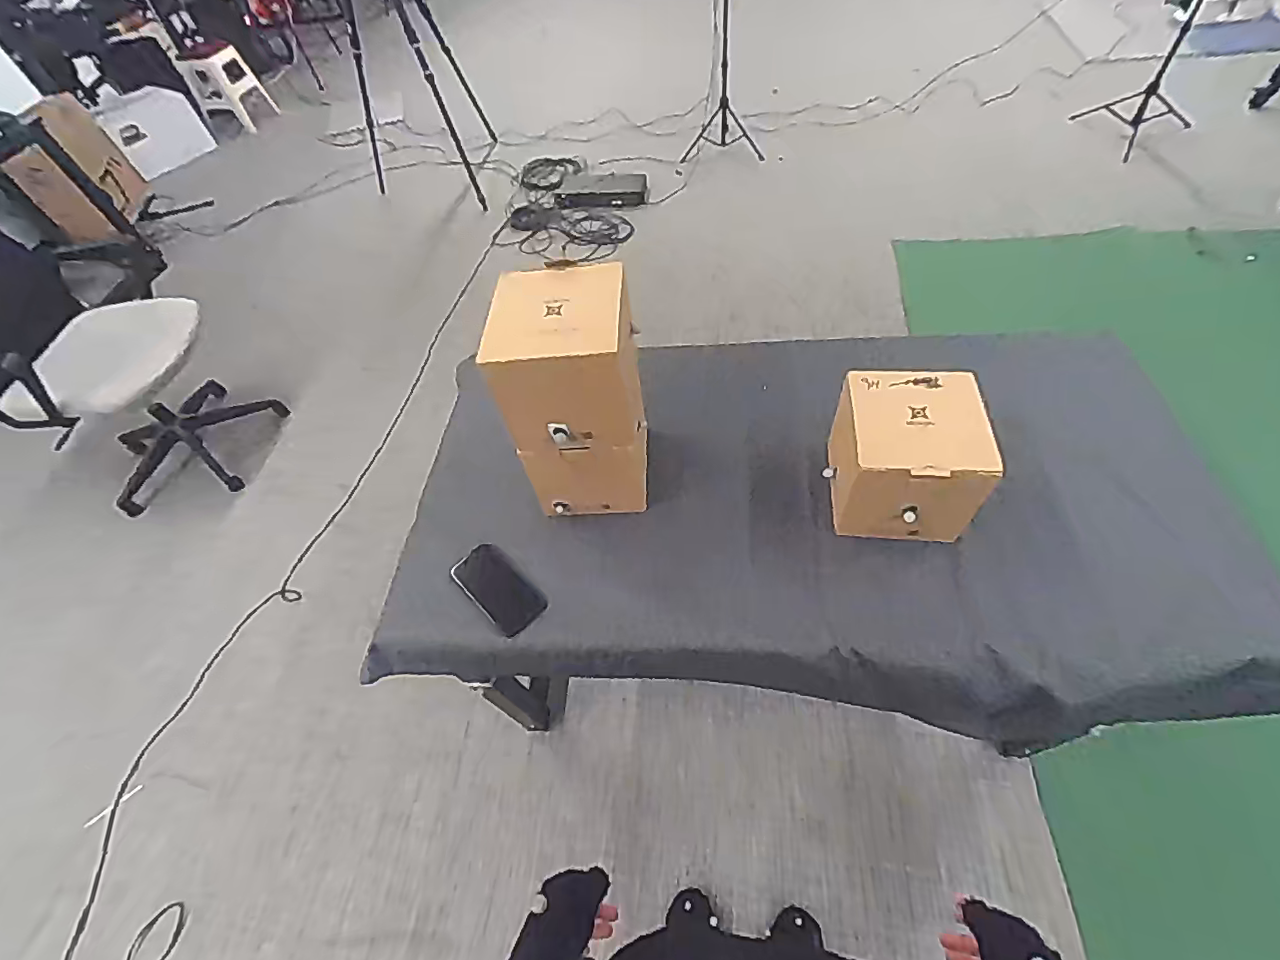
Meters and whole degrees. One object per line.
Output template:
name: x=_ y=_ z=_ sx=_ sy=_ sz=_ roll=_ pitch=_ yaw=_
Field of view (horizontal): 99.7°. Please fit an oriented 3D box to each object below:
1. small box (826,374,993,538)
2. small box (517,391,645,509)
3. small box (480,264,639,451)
small box: x=0.368 y=-0.031 z=0.775 sx=0.168 sy=0.176 sz=0.179 roll=3 pitch=55 yaw=9
small box: x=-0.080 y=-0.065 z=0.854 sx=0.168 sy=0.176 sz=0.179 roll=-2 pitch=53 yaw=5
small box: x=-0.093 y=-0.159 z=0.723 sx=0.168 sy=0.176 sz=0.179 roll=-4 pitch=55 yaw=5
